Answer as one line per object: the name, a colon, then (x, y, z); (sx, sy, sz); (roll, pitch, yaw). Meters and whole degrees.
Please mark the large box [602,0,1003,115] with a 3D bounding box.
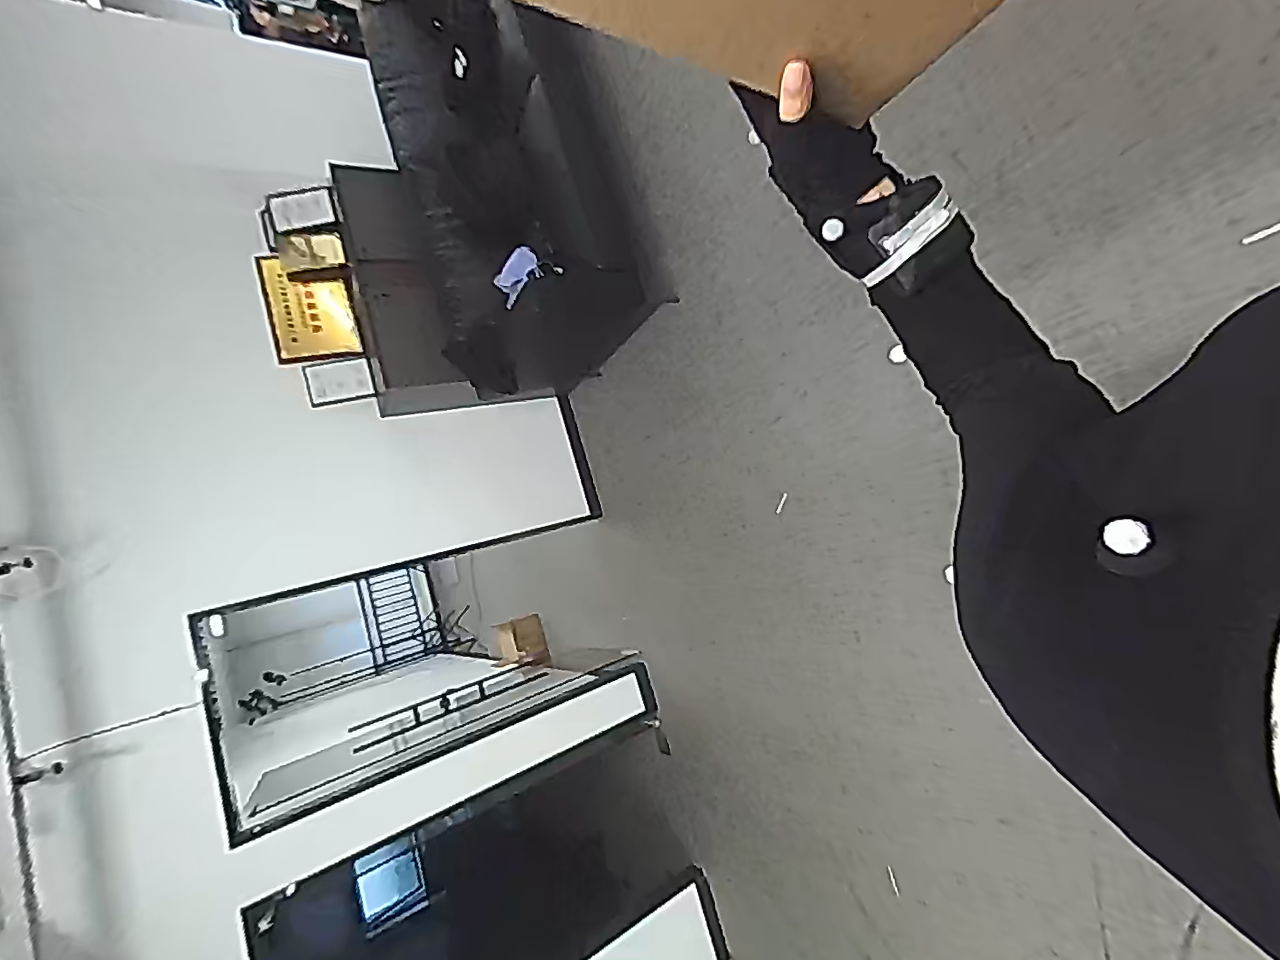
large box: (0.100, -0.415, 0.140); (0.408, 0.320, 0.320); (-17, 77, 61)
